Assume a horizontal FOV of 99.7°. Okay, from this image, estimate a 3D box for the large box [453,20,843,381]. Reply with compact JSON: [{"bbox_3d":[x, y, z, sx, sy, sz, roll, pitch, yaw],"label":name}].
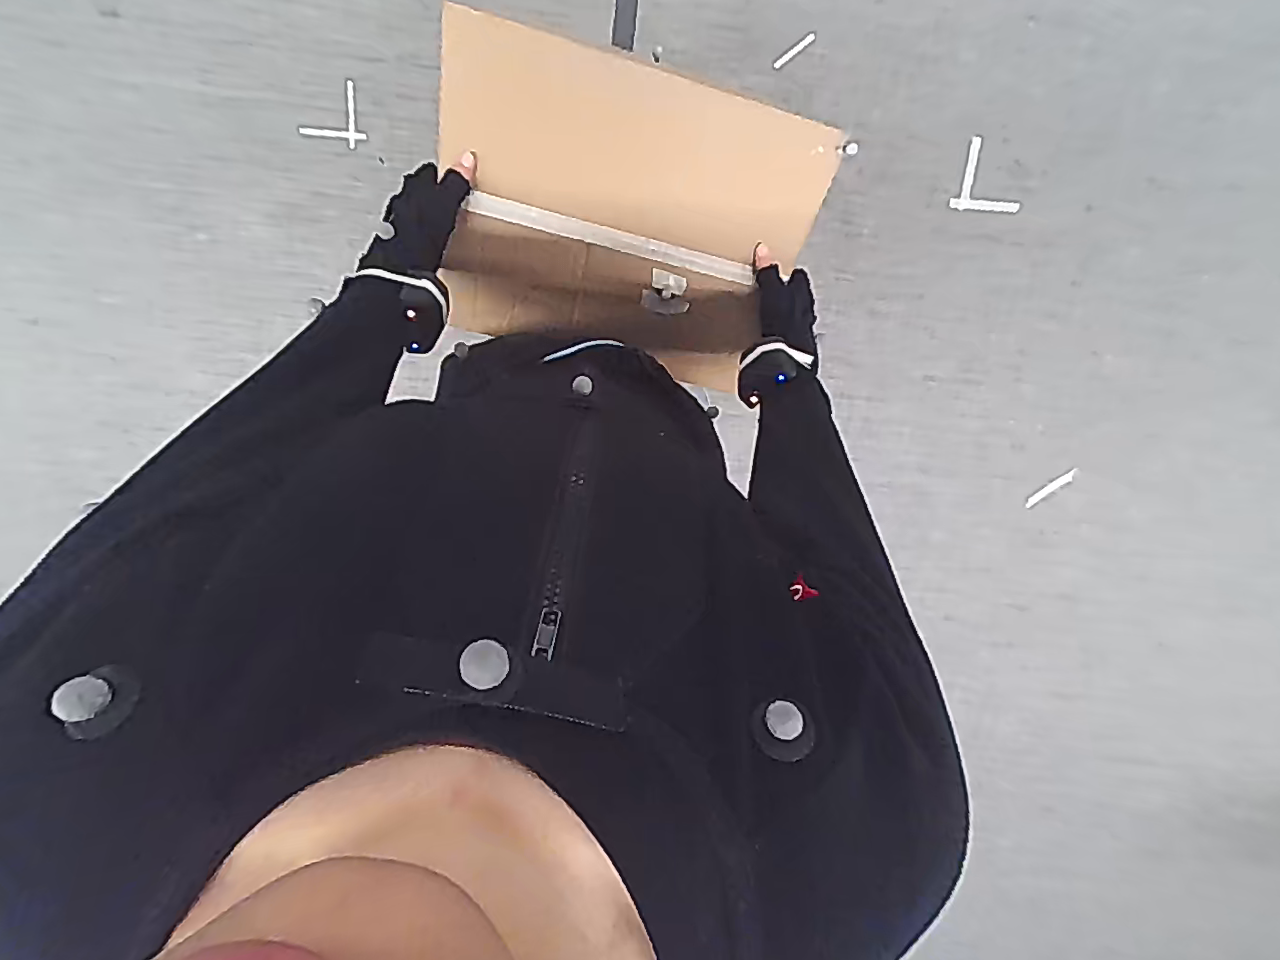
[{"bbox_3d":[-0.016,-0.379,0.743,0.408,0.320,0.320,11,130,-9],"label":"large box"}]
